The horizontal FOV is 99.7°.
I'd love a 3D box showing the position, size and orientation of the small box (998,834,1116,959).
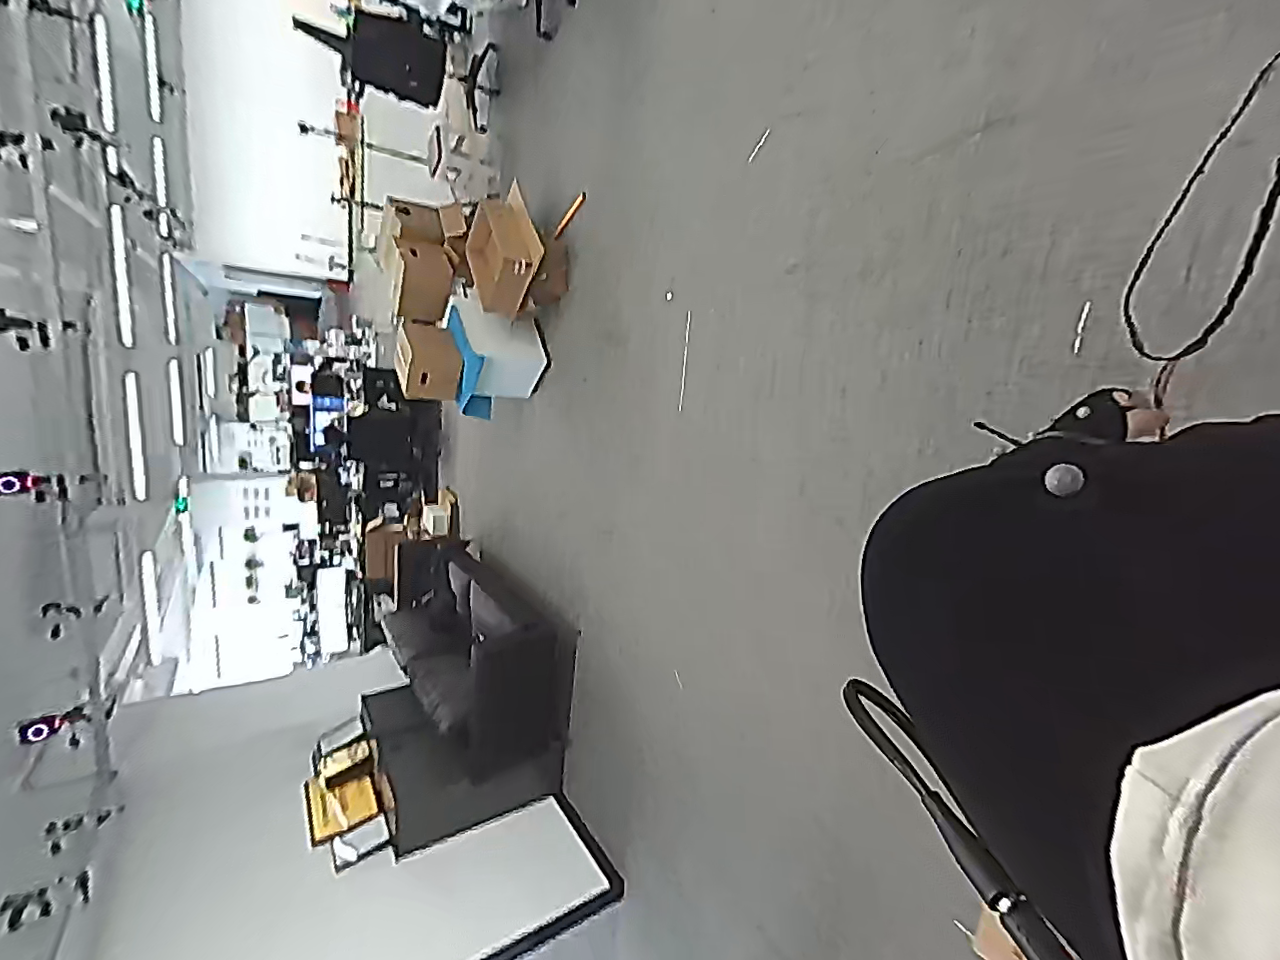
[{"bbox_3d":[1.039,1.033,1.346,0.179,0.176,0.168,21,109,53],"label":"small box"}]
